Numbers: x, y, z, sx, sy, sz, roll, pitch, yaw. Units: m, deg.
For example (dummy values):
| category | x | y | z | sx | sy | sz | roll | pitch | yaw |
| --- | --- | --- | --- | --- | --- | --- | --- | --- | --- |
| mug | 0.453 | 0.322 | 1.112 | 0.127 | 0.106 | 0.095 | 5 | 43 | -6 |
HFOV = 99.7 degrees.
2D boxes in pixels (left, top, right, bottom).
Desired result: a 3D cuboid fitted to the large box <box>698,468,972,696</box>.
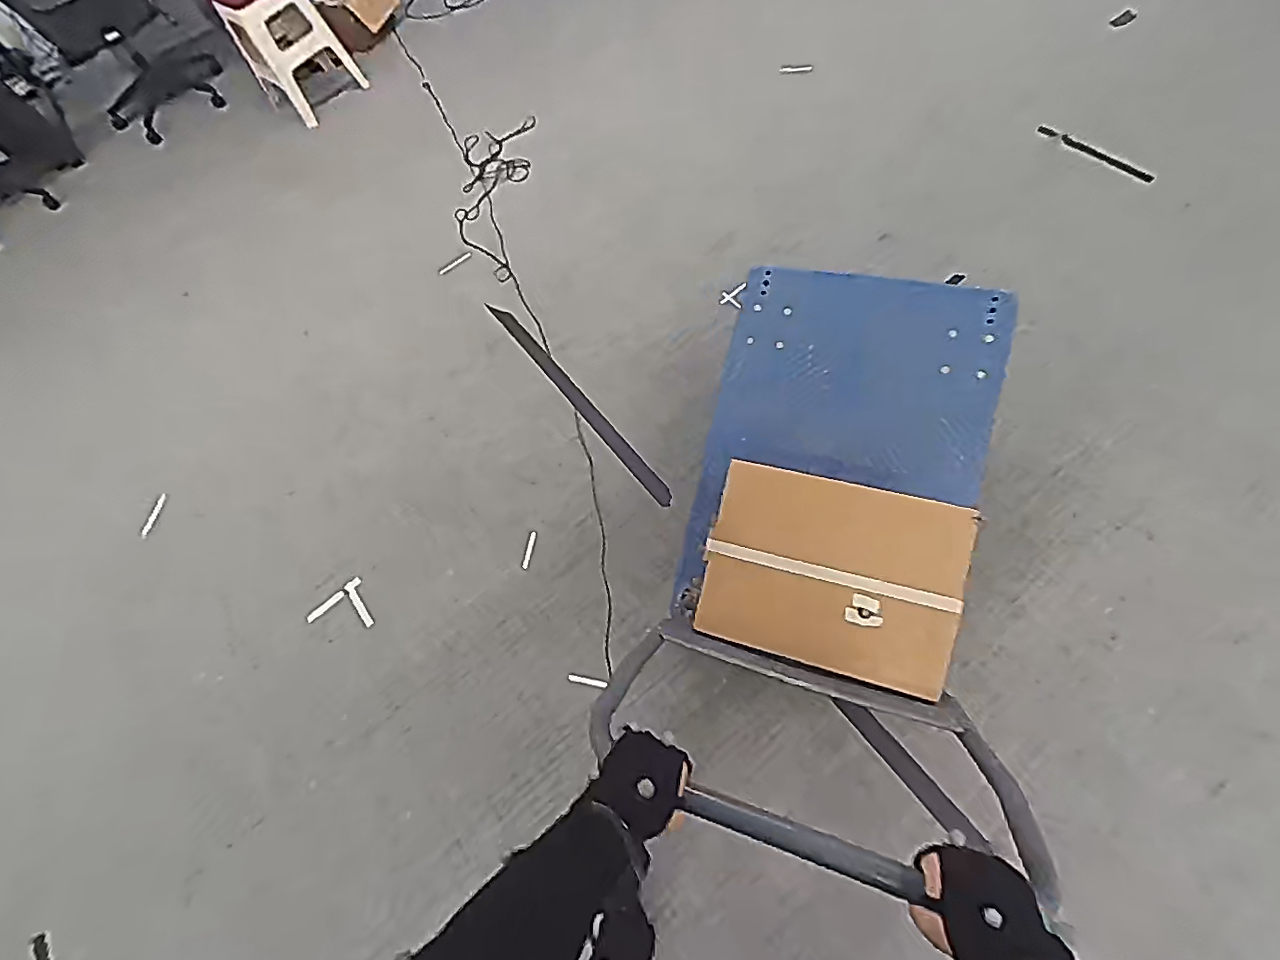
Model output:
| category | x | y | z | sx | sy | sz | roll | pitch | yaw |
| --- | --- | --- | --- | --- | --- | --- | --- | --- | --- |
| large box | 0.356 | 0.177 | 1.067 | 0.408 | 0.320 | 0.320 | 13 | 89 | 15 |
